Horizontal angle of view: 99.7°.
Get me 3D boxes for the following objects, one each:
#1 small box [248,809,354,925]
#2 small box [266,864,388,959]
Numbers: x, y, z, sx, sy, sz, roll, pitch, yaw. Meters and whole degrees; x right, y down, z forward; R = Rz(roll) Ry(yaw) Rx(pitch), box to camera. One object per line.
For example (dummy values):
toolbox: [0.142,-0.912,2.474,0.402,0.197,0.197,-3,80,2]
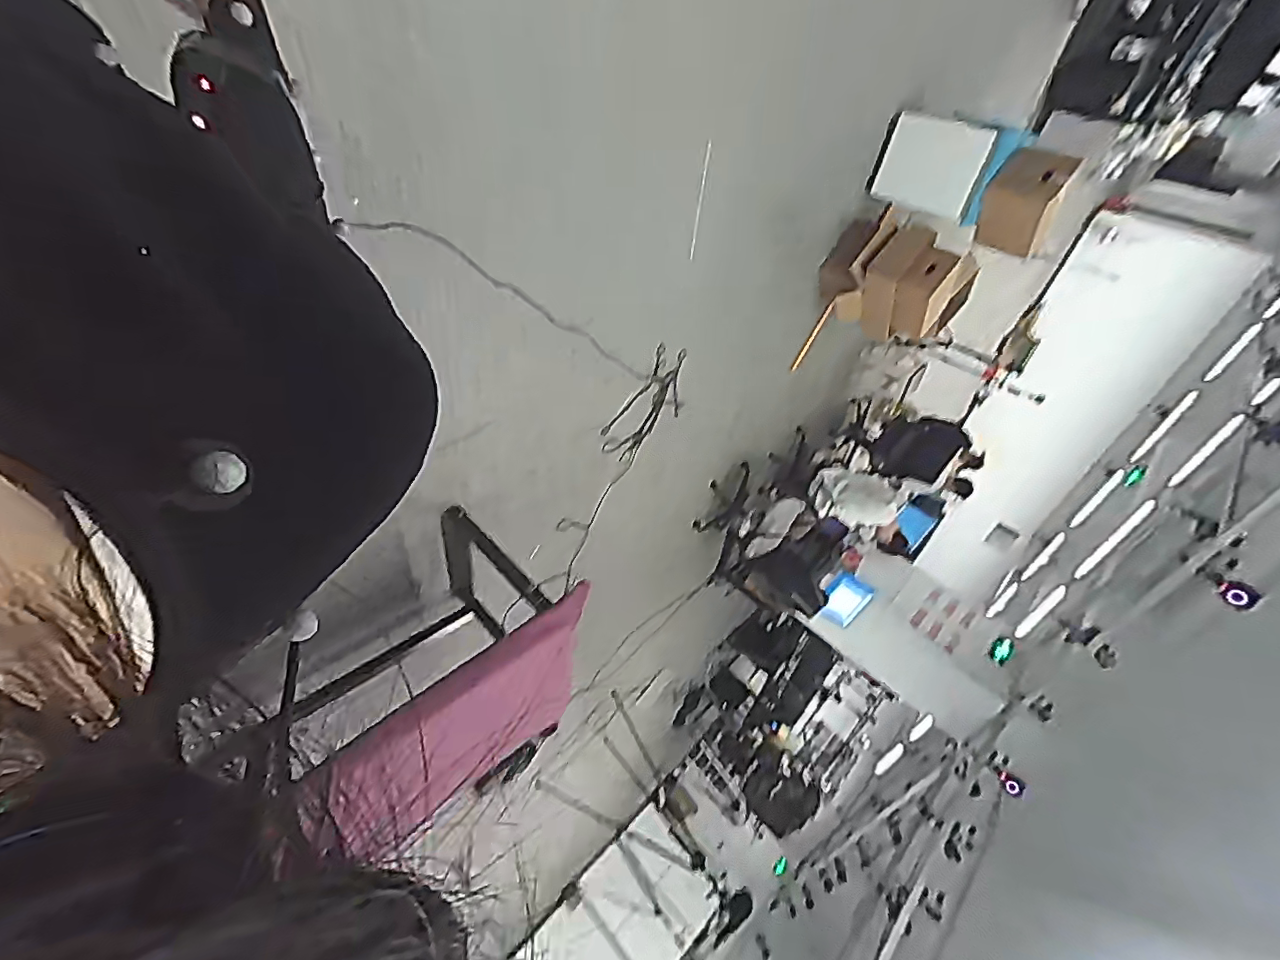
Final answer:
small box: [-0.817,0.952,1.306,0.179,0.176,0.168,-23,141,-45]
small box: [-0.696,1.016,1.213,0.179,0.176,0.168,-27,143,-40]
